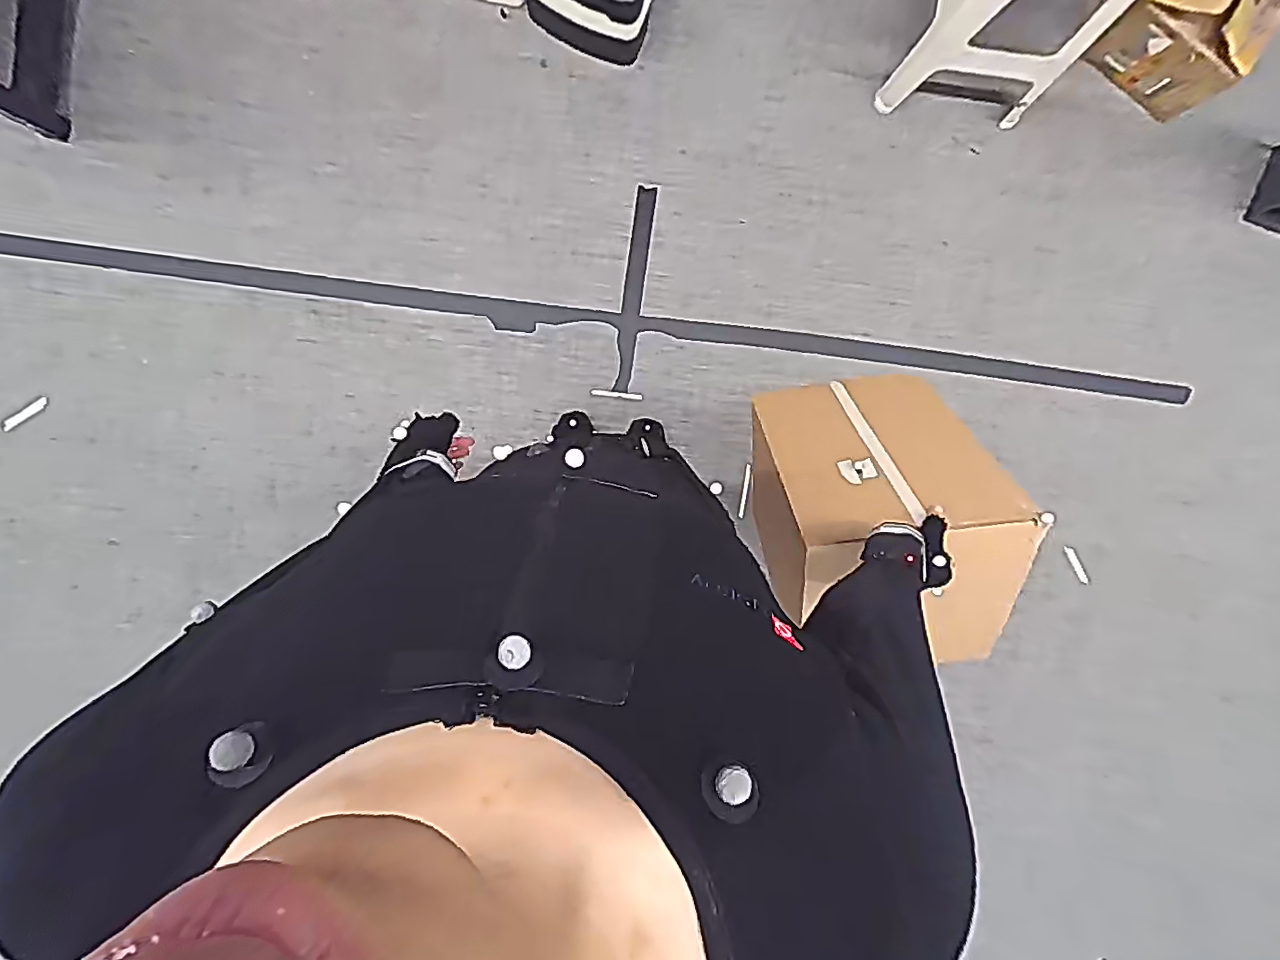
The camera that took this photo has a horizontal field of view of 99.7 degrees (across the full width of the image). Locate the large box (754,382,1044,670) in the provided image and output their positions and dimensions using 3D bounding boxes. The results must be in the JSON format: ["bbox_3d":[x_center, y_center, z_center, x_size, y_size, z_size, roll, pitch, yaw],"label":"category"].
[{"bbox_3d":[0.396,0.070,0.968,0.320,0.408,0.320,-8,129,4],"label":"large box"}]
